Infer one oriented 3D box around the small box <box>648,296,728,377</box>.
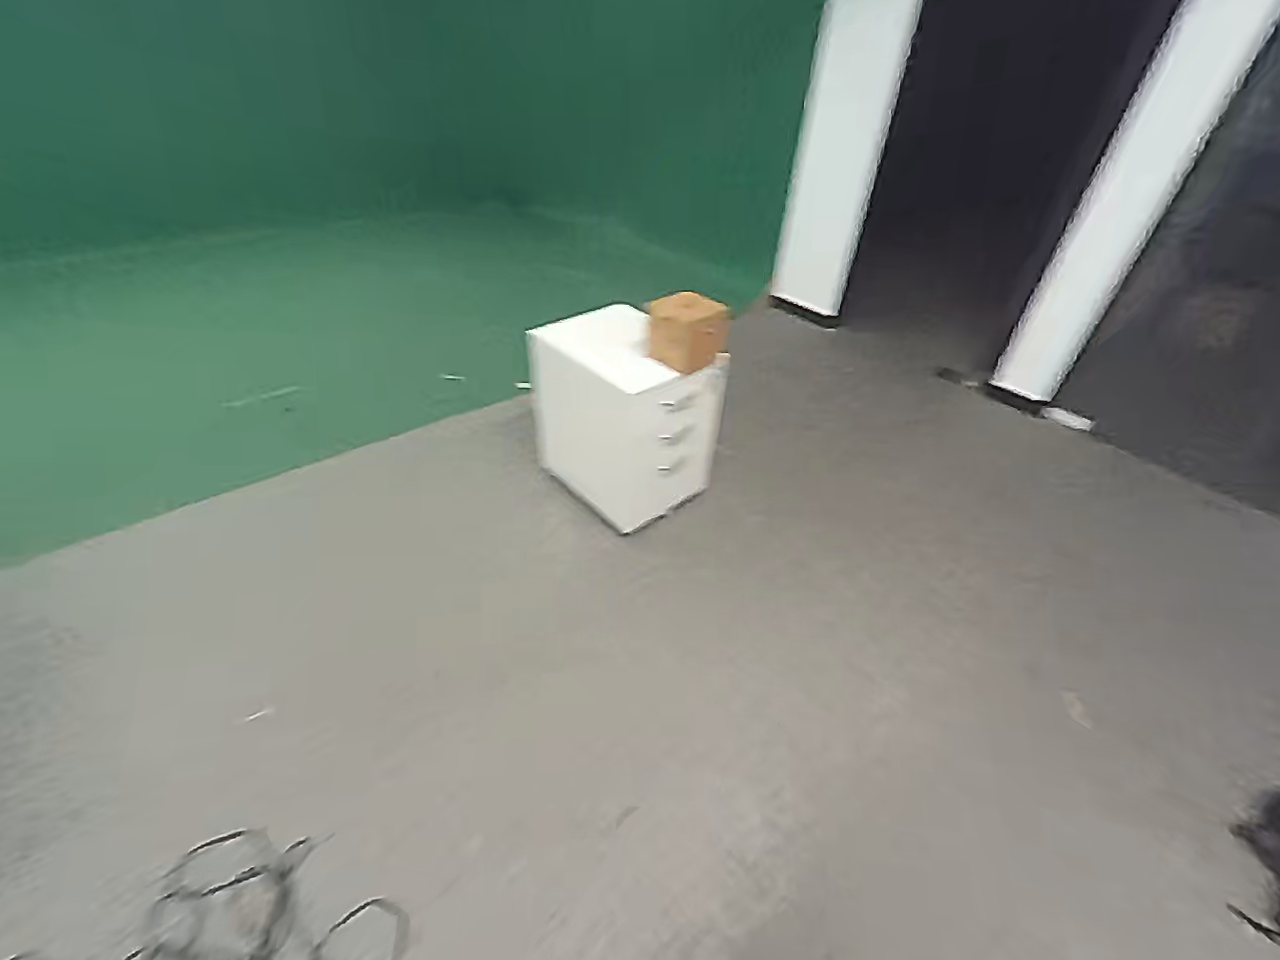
[{"bbox_3d":[0.140,-0.430,1.620,0.179,0.176,0.168,-28,49,-32],"label":"small box"}]
